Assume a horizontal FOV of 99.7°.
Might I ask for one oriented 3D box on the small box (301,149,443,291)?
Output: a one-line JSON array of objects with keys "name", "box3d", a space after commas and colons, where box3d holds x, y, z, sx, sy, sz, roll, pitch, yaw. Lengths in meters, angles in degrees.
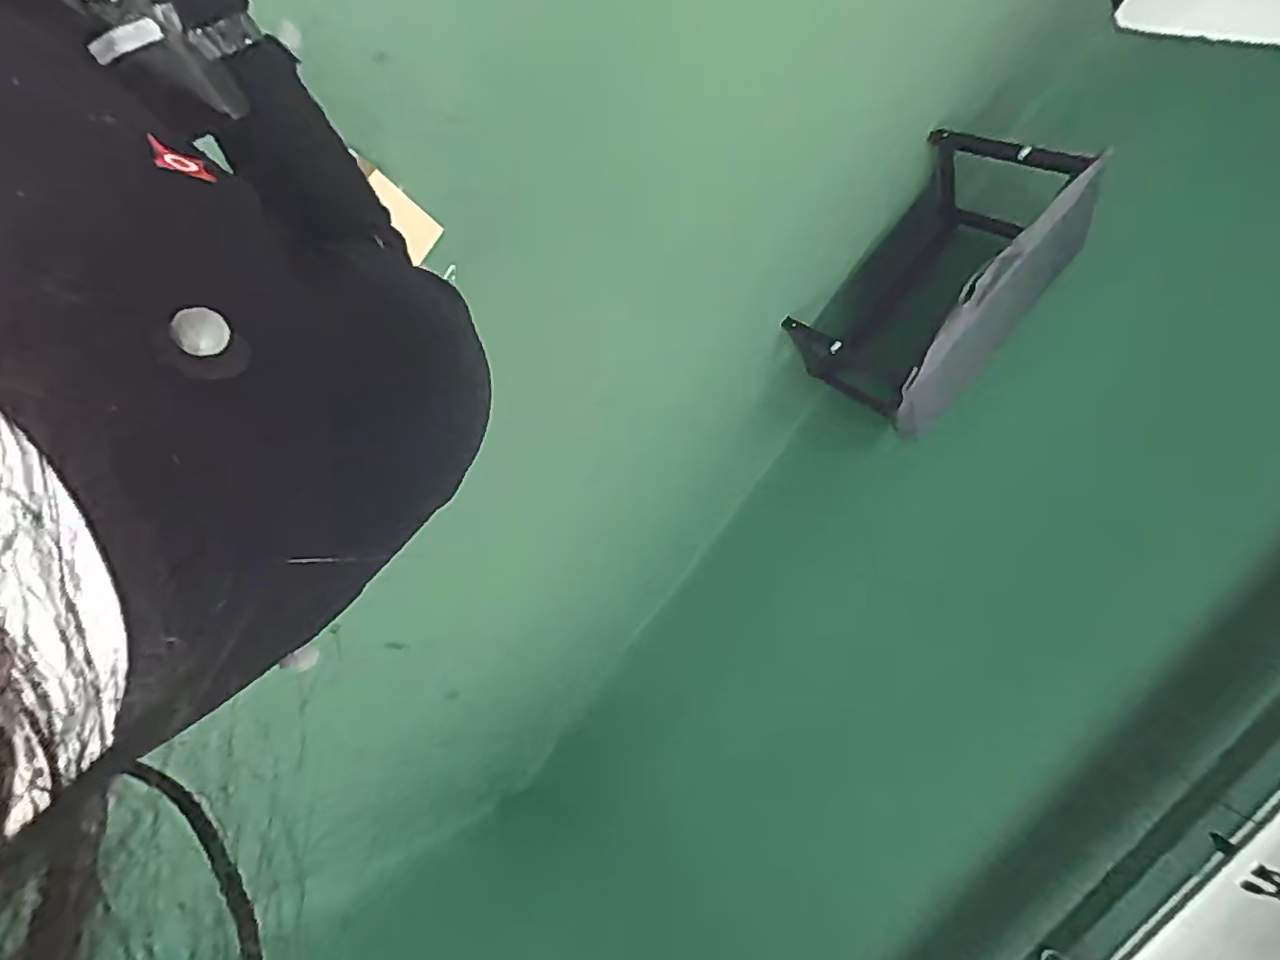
[{"name": "small box", "box3d": [-0.544, -0.525, 1.089, 0.179, 0.176, 0.168, -51, 147, 4]}]
